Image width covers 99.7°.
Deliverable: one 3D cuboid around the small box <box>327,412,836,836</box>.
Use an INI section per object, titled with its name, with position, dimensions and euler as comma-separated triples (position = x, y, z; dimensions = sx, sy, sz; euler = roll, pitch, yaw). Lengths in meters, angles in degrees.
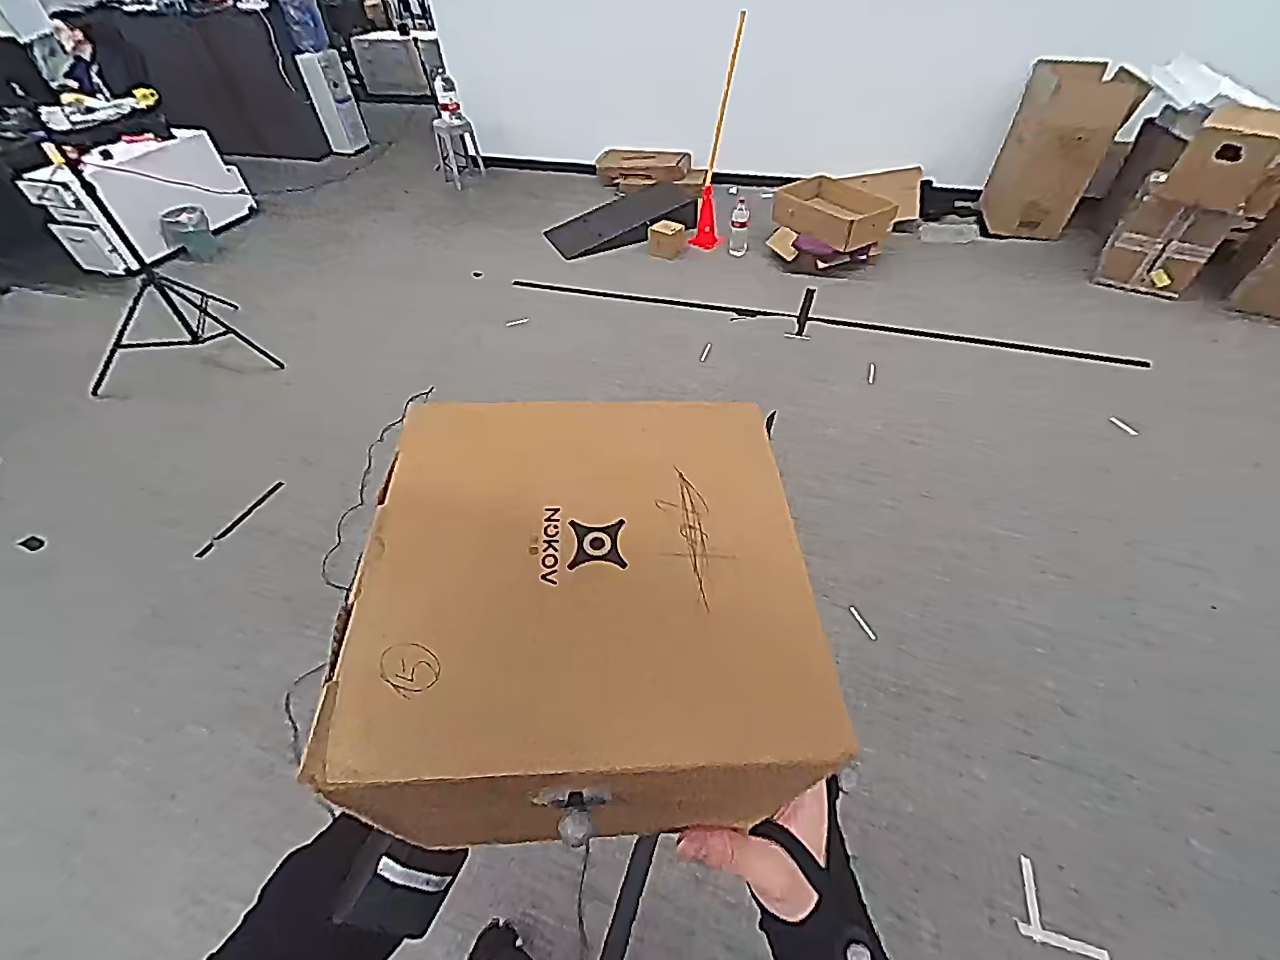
[small box]
position = -0.026, 0.081, 0.292
dimensions = 0.179, 0.176, 0.168
euler = -1, 51, -6
